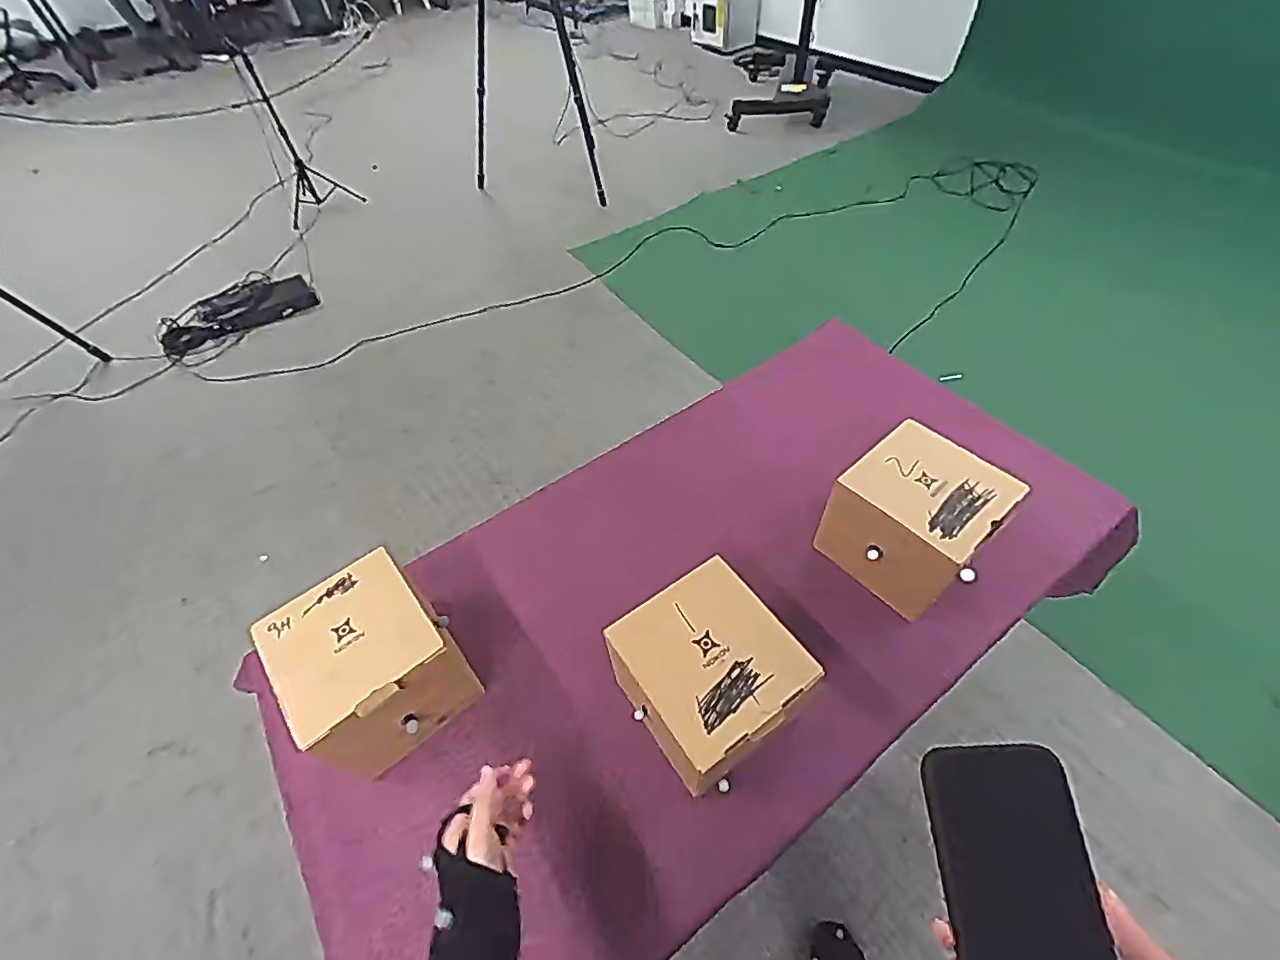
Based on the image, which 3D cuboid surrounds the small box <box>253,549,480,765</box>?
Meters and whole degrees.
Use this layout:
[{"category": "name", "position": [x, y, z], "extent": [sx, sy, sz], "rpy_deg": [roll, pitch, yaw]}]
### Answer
[{"category": "small box", "position": [-0.326, 0.226, 0.673], "extent": [0.168, 0.176, 0.179], "rpy_deg": [-35, 59, -21]}]

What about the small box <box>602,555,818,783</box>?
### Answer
[{"category": "small box", "position": [0.077, 0.229, 0.640], "extent": [0.168, 0.176, 0.179], "rpy_deg": [-30, 55, -18]}]
